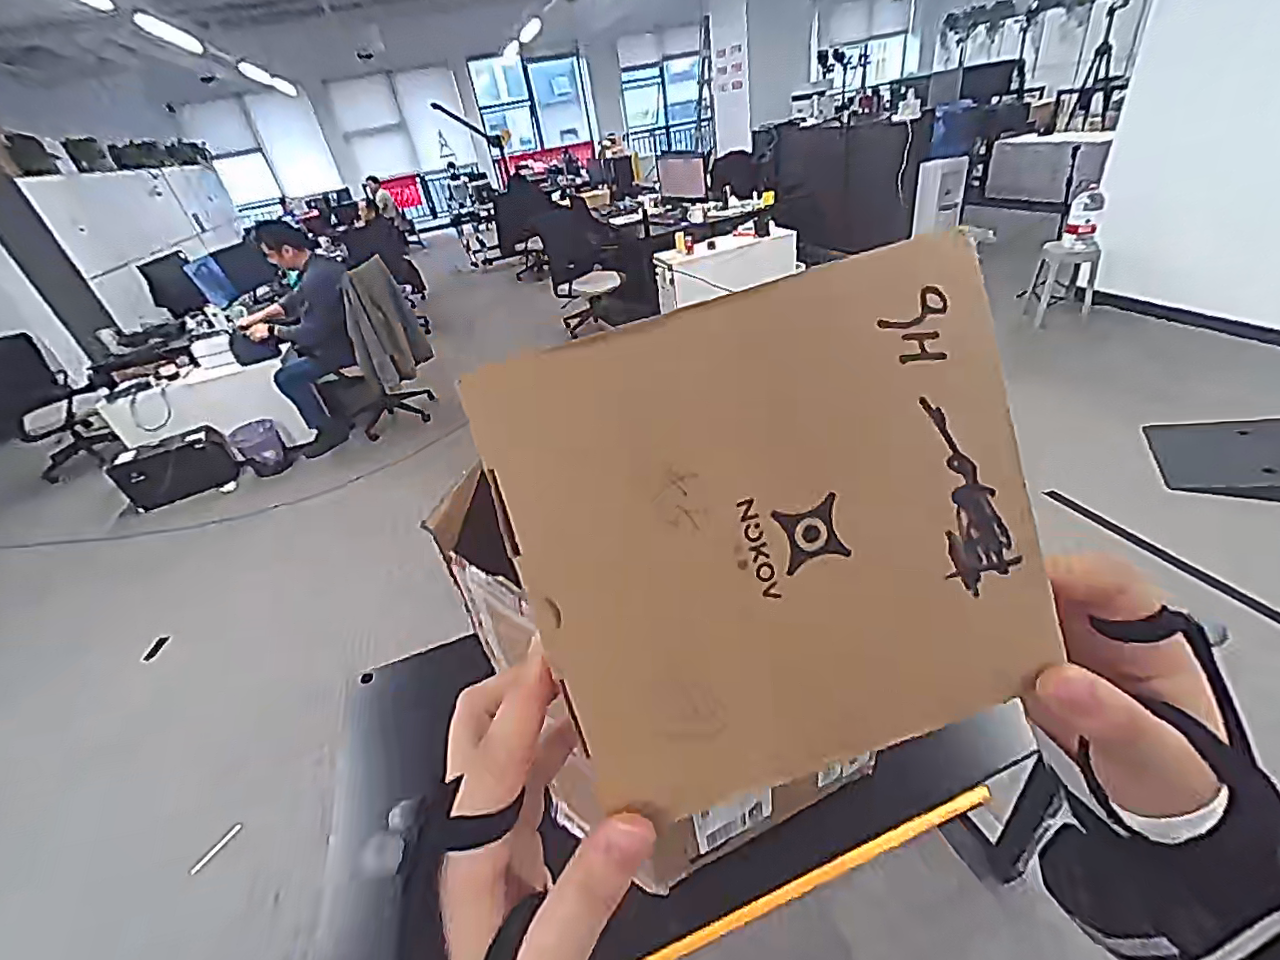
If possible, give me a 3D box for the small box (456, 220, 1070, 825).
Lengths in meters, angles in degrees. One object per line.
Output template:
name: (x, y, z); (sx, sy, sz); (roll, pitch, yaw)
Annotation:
small box: (0.042, 0.010, 0.259); (0.179, 0.168, 0.176); (-17, 7, -2)
